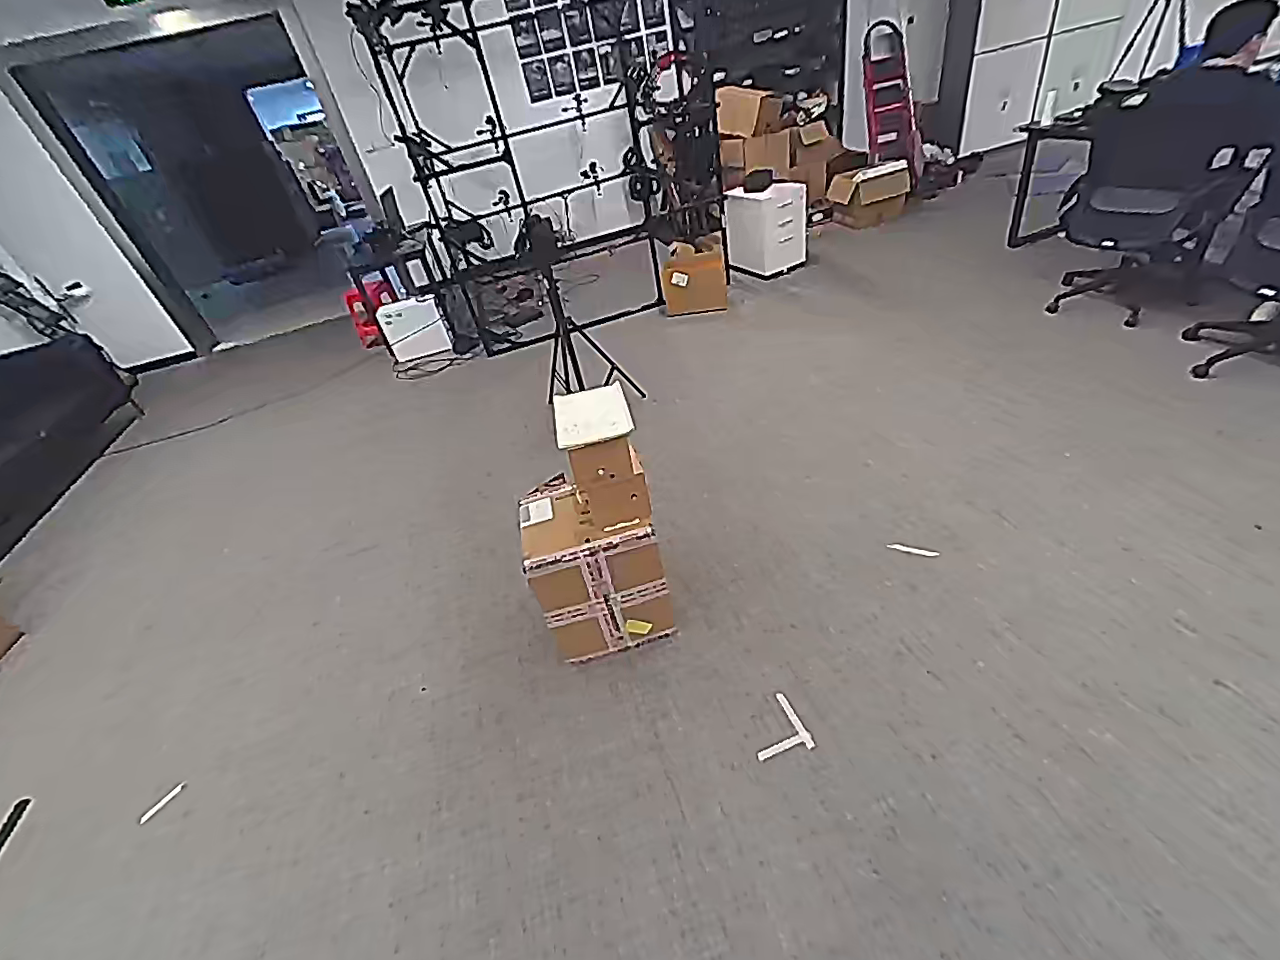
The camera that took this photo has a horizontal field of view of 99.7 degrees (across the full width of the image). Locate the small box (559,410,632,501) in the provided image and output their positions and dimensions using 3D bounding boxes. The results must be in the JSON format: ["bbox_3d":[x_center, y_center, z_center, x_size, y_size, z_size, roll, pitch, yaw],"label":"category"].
[{"bbox_3d":[-0.123,-0.067,1.494,0.168,0.176,0.179,-12,39,-3],"label":"small box"}]

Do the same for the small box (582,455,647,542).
[{"bbox_3d":[-0.082,0.055,1.598,0.179,0.176,0.168,-16,38,-6],"label":"small box"}]
